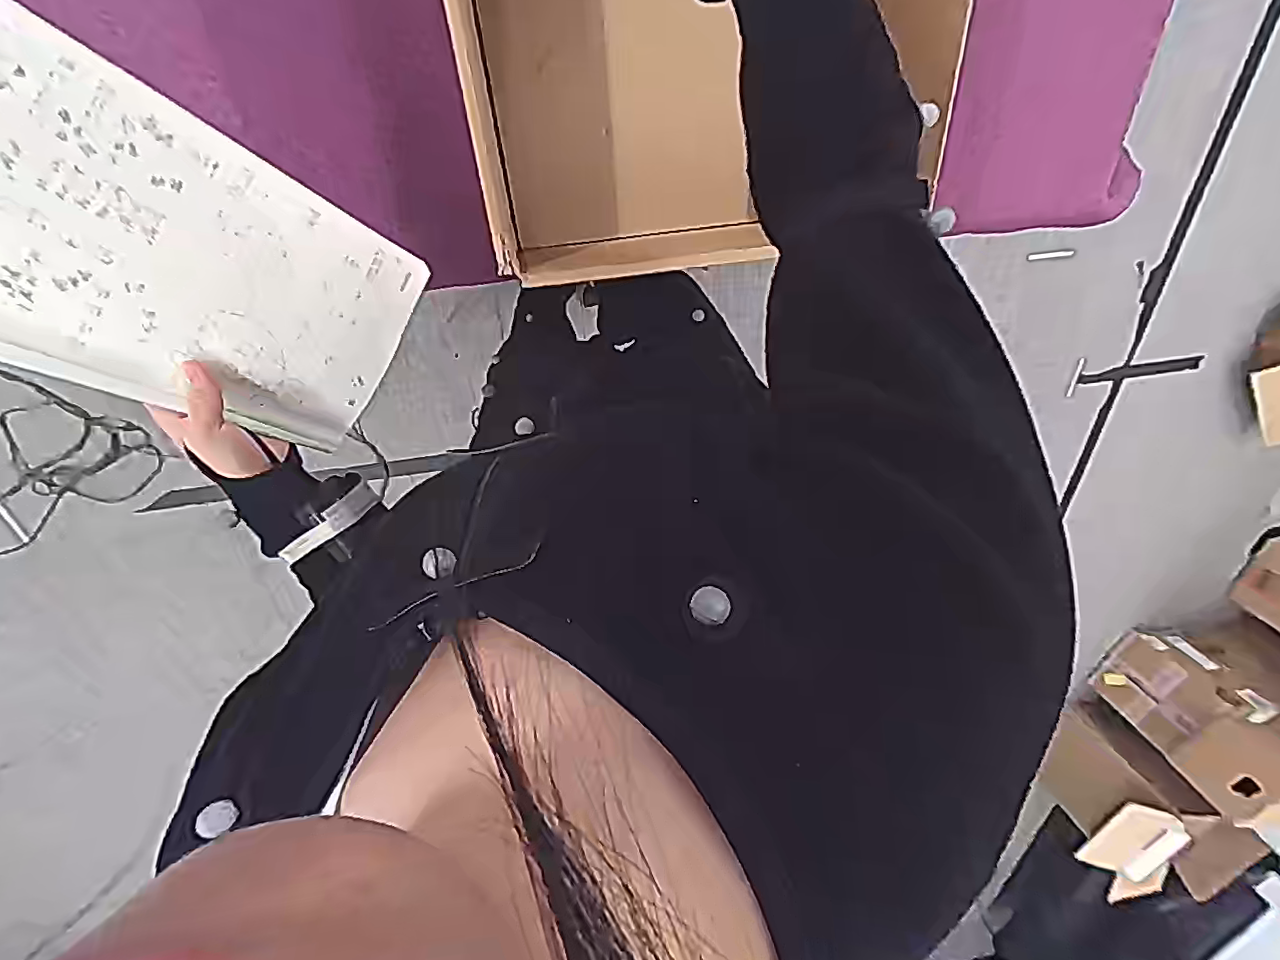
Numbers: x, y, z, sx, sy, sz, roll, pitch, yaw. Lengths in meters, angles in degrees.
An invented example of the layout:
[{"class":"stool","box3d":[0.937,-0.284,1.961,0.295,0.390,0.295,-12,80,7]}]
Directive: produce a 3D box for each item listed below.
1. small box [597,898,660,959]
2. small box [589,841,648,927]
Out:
[{"class":"small box","box3d":[-0.041,1.472,1.719,0.168,0.176,0.179,-5,123,-12]},{"class":"small box","box3d":[-0.078,1.375,1.848,0.179,0.176,0.168,-7,124,-12]}]
